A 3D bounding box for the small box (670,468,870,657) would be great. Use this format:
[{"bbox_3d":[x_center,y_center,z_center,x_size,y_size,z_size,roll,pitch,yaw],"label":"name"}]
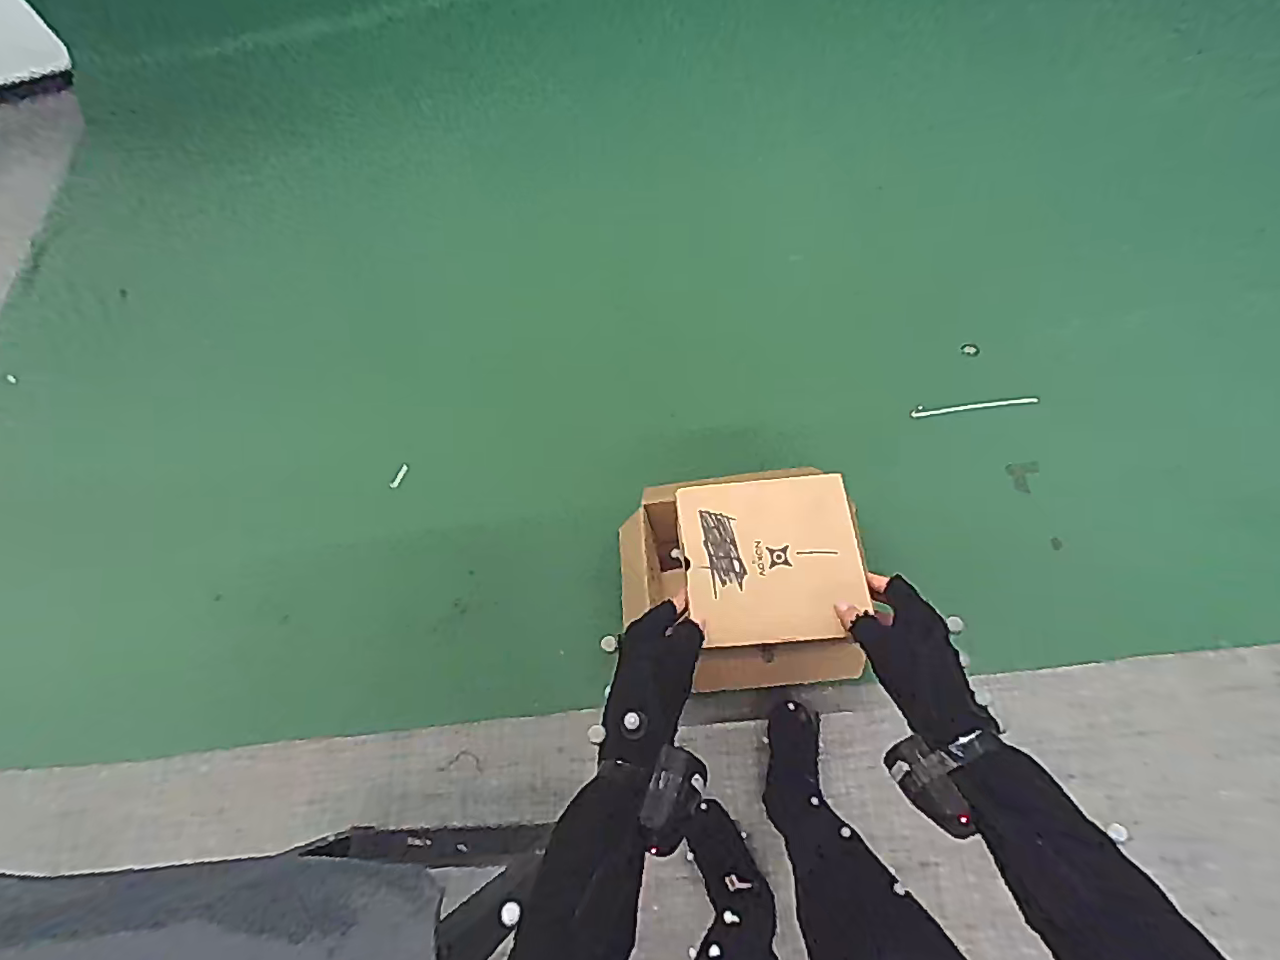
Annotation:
[{"bbox_3d":[0.133,0.102,0.611,0.179,0.176,0.168,-6,66,4],"label":"small box"}]
